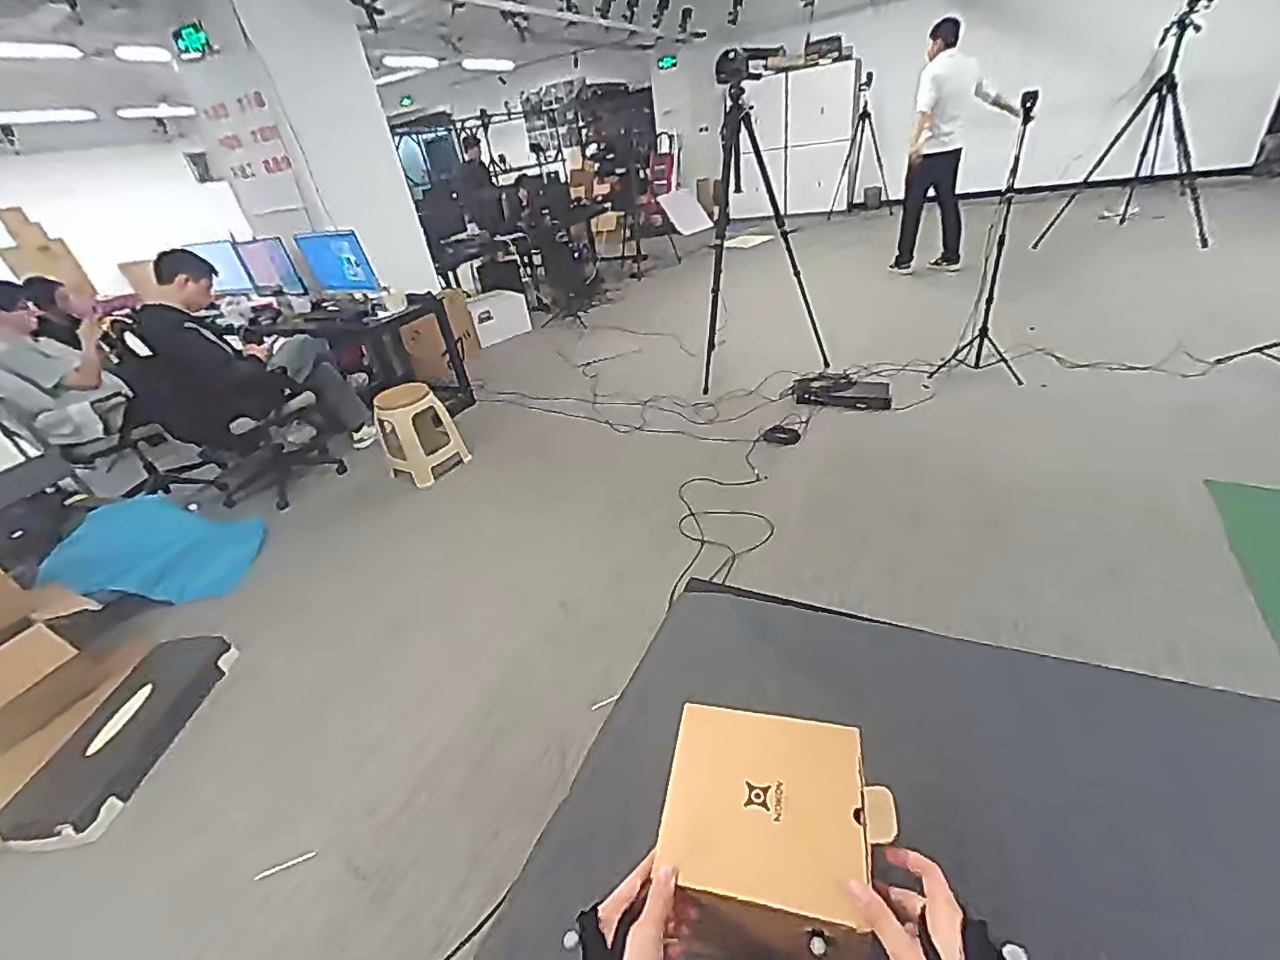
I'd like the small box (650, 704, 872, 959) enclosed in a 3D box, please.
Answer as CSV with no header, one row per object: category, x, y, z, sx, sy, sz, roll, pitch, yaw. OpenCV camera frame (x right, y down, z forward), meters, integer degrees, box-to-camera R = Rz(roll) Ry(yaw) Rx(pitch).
small box,0.121,0.351,0.529,0.179,0.176,0.168,2,35,16
